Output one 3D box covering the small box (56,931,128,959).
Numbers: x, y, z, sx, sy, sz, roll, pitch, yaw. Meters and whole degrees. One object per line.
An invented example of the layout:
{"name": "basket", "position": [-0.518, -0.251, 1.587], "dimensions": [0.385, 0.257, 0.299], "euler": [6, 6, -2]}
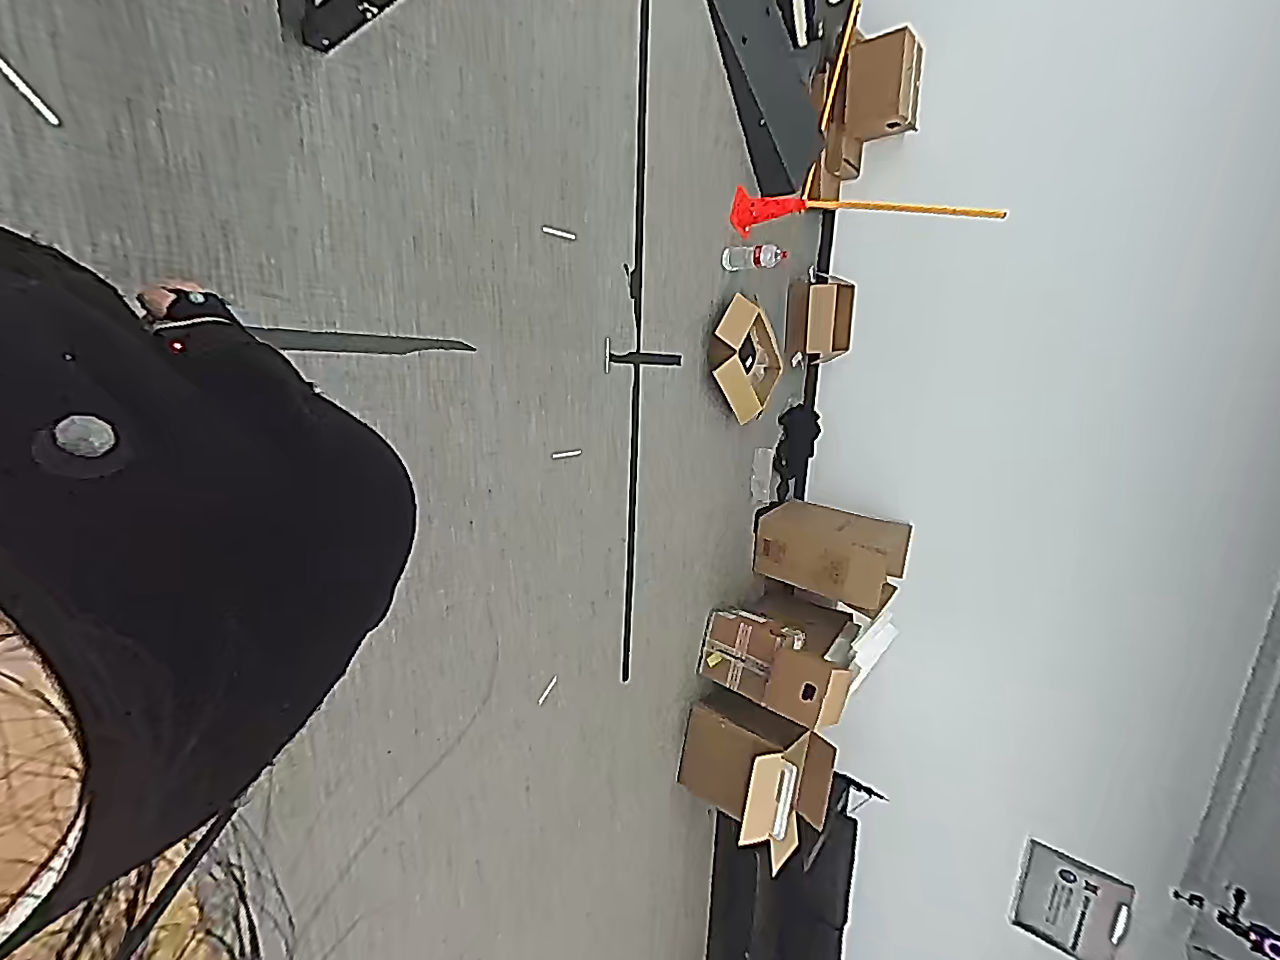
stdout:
{"name": "small box", "position": [-1.201, 1.129, 1.158], "dimensions": [0.168, 0.176, 0.179], "euler": [-19, 115, -48]}
